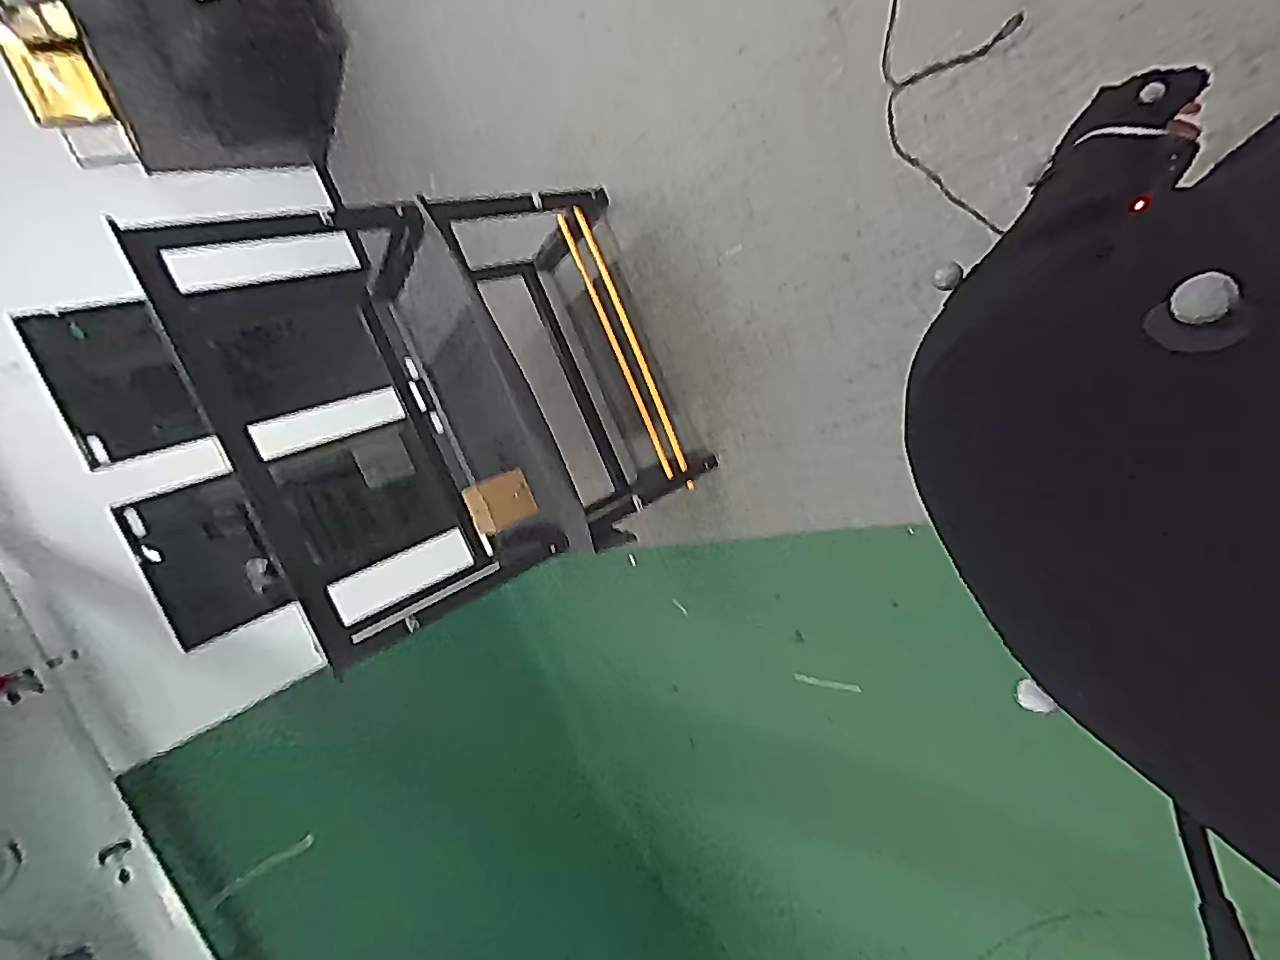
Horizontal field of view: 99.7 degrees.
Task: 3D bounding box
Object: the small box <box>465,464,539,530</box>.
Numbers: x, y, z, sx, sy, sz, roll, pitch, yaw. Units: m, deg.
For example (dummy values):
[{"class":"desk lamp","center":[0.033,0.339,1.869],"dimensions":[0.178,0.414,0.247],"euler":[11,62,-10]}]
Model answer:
[{"class":"small box","center":[-0.475,0.059,1.866],"dimensions":[0.179,0.176,0.168],"euler":[-16,99,55]}]
